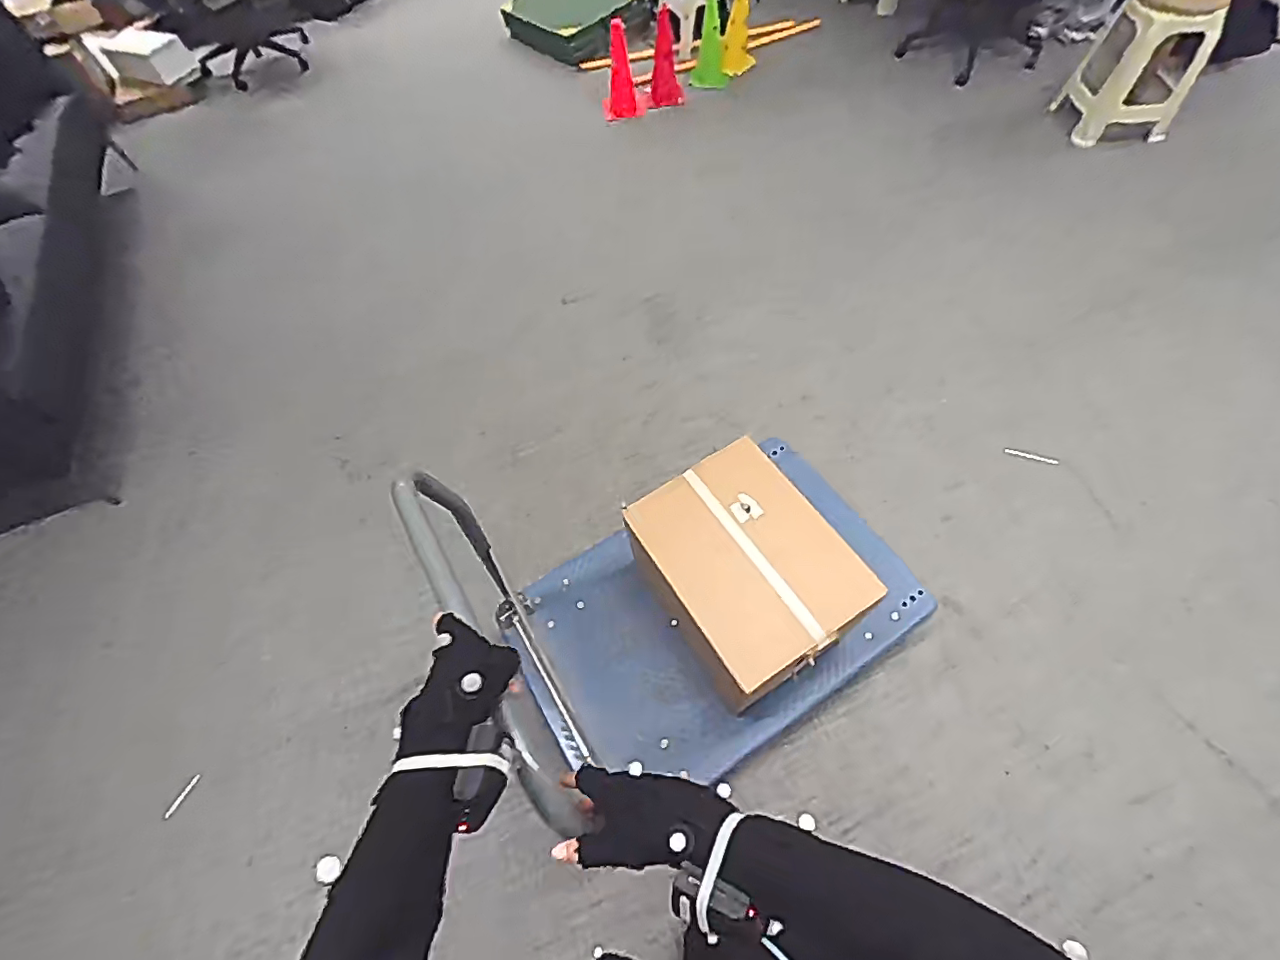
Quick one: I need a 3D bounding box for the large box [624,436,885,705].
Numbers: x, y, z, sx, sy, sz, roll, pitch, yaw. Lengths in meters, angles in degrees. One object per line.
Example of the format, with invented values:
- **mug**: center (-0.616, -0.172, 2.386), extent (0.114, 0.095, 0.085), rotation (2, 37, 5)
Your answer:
- **large box**: center (0.218, 0.195, 1.140), extent (0.320, 0.320, 0.408), rotation (-31, 61, -12)
